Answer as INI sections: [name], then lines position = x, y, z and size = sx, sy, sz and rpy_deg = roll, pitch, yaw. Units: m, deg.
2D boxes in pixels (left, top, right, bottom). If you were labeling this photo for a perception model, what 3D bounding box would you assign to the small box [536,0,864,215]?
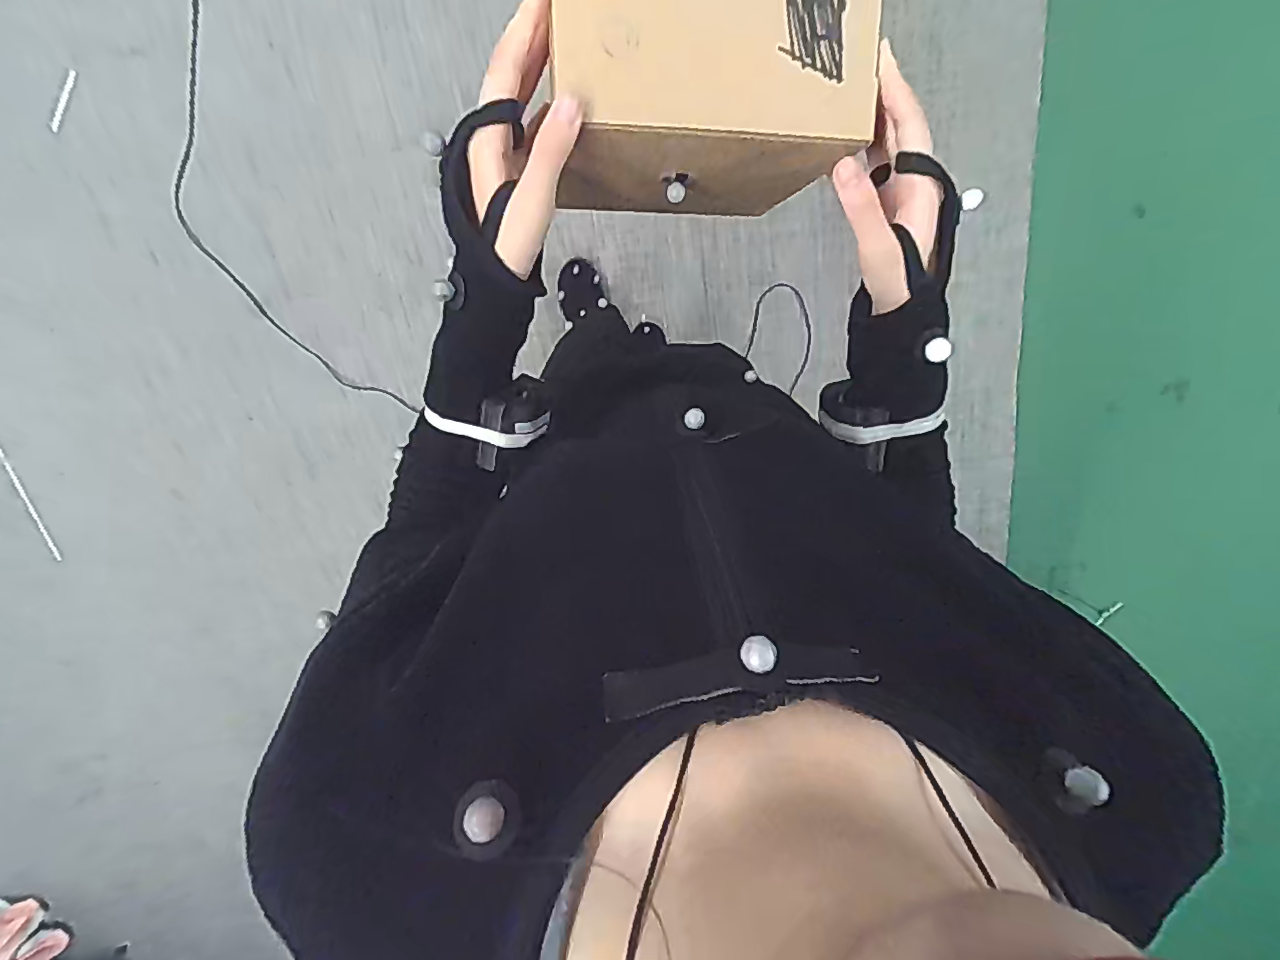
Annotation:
[small box]
position = 0.023, -0.282, 0.351
size = 0.179, 0.176, 0.168
rpy_deg = -2, 103, -9
